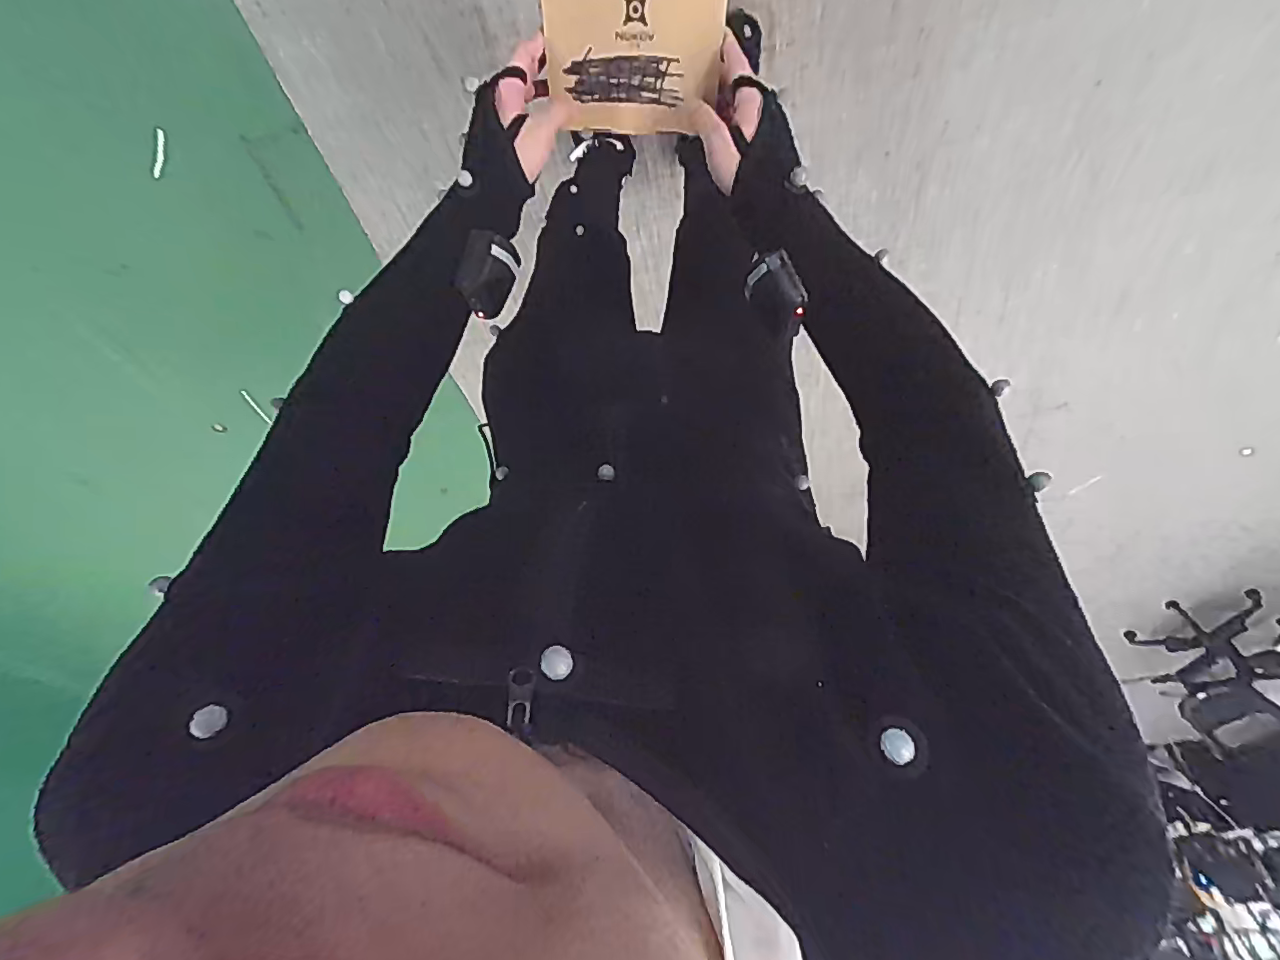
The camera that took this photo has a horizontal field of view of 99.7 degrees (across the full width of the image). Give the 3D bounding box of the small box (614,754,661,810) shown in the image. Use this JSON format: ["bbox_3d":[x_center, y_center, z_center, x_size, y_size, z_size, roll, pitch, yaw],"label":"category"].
[{"bbox_3d":[-0.010,1.246,2.230,0.168,0.176,0.179,-10,138,7],"label":"small box"}]
